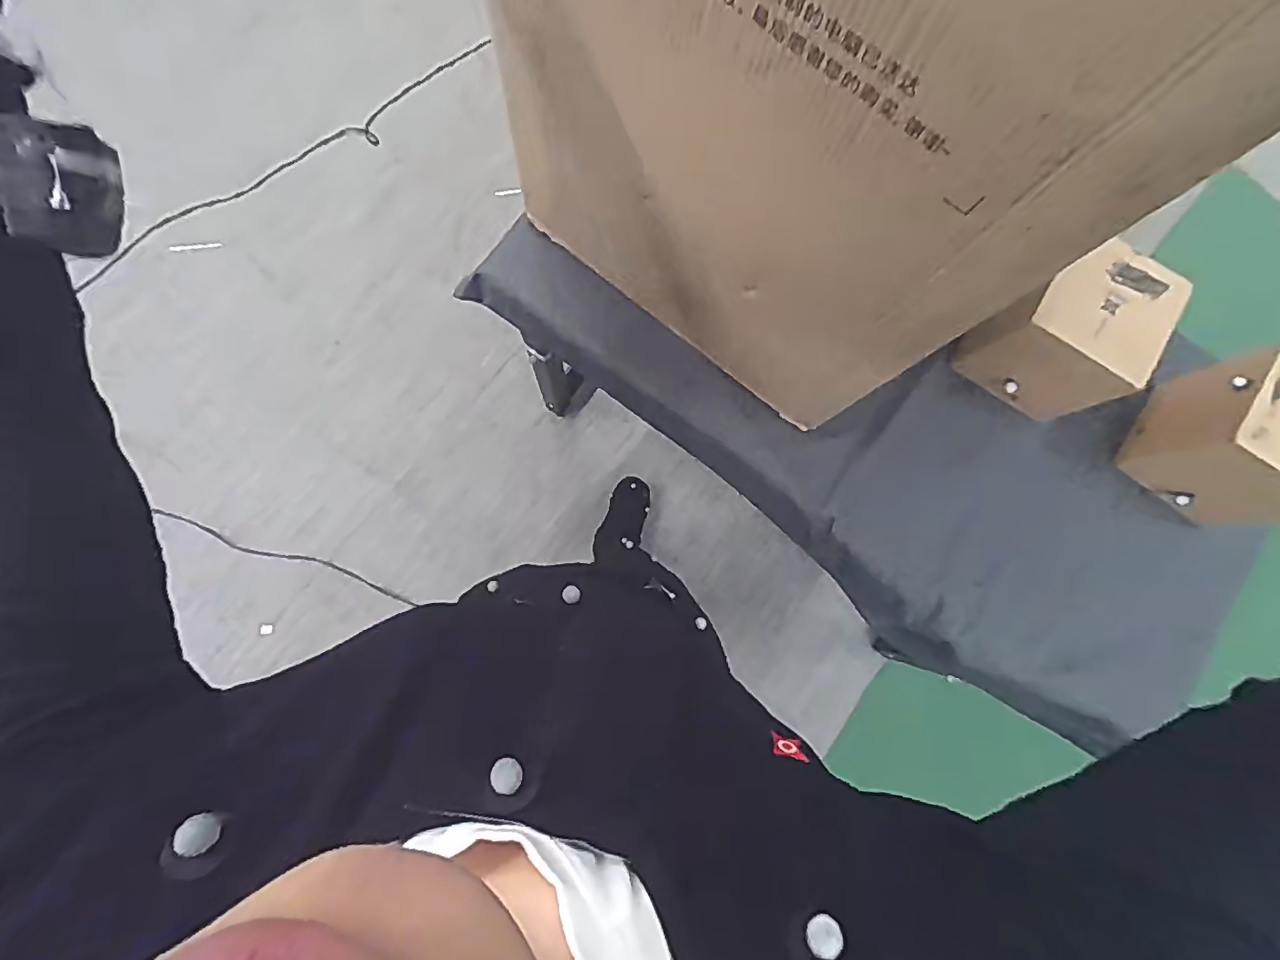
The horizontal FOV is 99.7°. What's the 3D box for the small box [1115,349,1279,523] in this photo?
[{"bbox_3d":[0.853,-0.051,0.769,0.179,0.176,0.168,37,80,2],"label":"small box"}]
